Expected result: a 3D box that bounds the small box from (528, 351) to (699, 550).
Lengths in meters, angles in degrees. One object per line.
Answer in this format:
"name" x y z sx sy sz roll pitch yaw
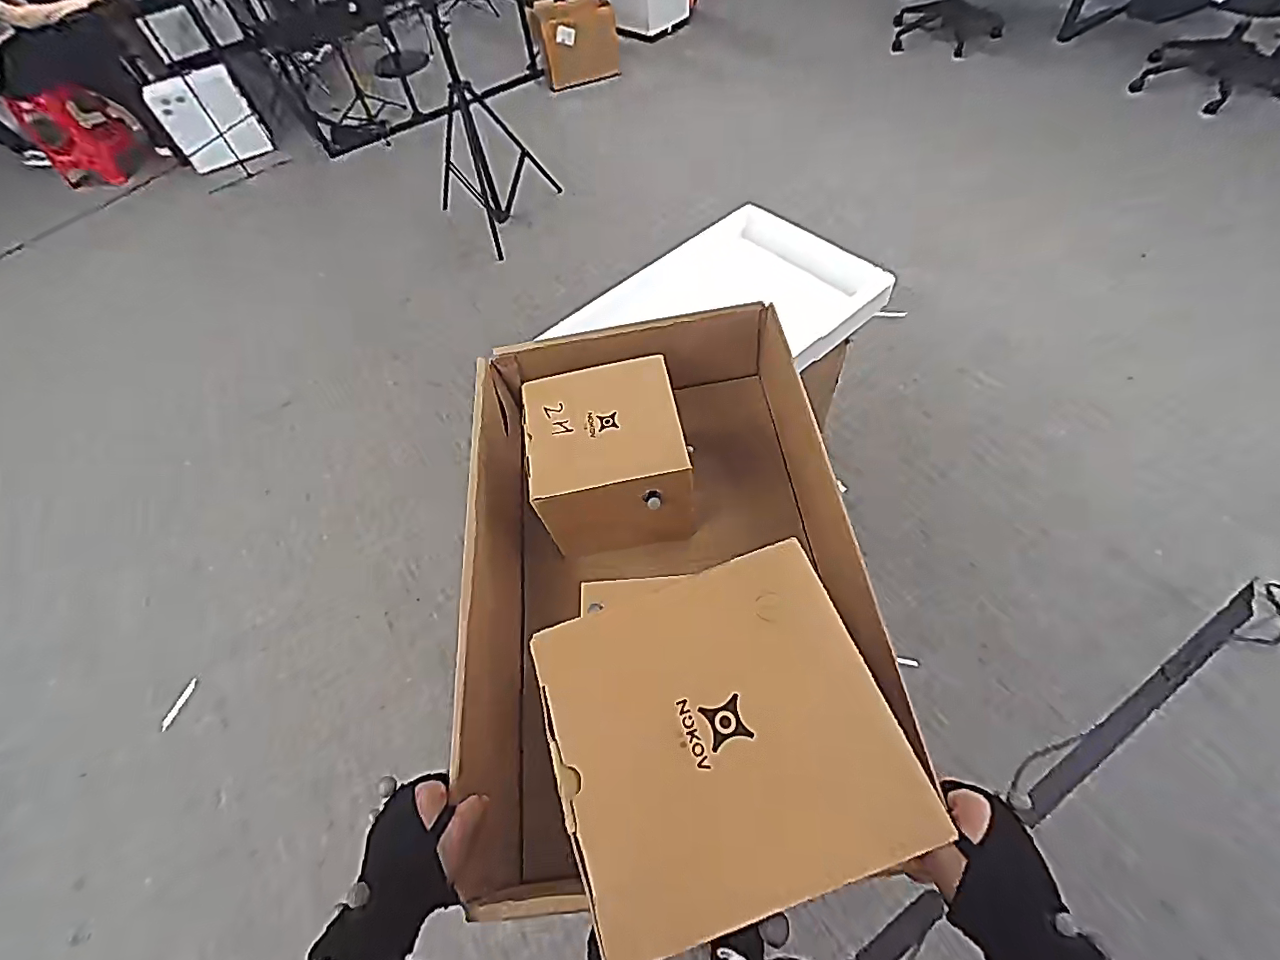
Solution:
"small box" -0.029 -0.030 0.671 0.179 0.176 0.168 -11 59 1
